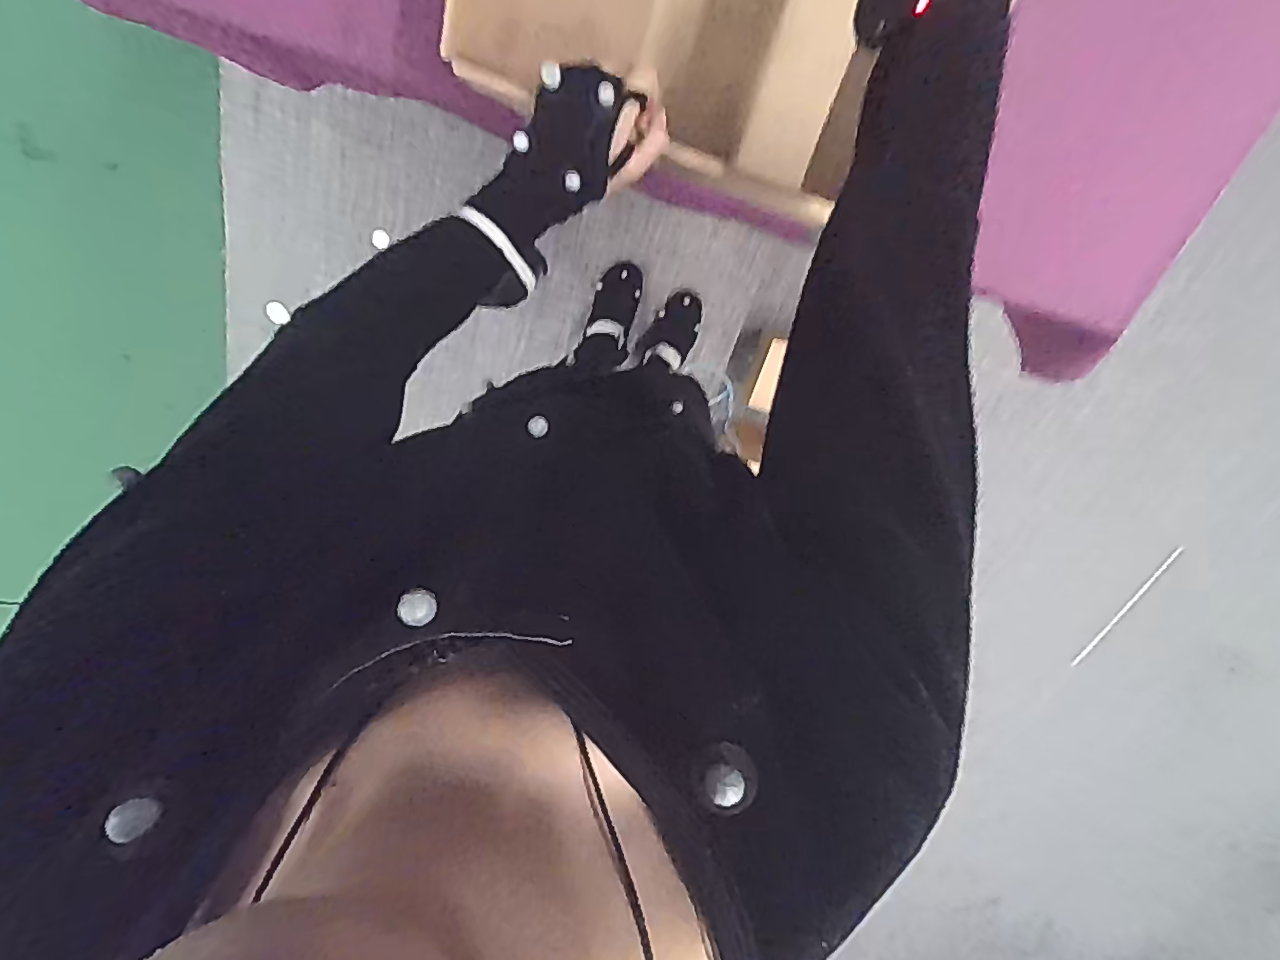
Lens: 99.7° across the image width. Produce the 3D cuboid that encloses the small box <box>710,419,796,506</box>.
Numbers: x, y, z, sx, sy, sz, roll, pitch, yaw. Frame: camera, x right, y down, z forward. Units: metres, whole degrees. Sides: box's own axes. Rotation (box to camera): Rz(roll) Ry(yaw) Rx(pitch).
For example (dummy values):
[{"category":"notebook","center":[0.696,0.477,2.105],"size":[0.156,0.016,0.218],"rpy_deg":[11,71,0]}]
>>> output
[{"category":"small box","center":[0.293,-0.054,1.454],"size":[0.179,0.176,0.168],"rpy_deg":[13,115,-3]}]
